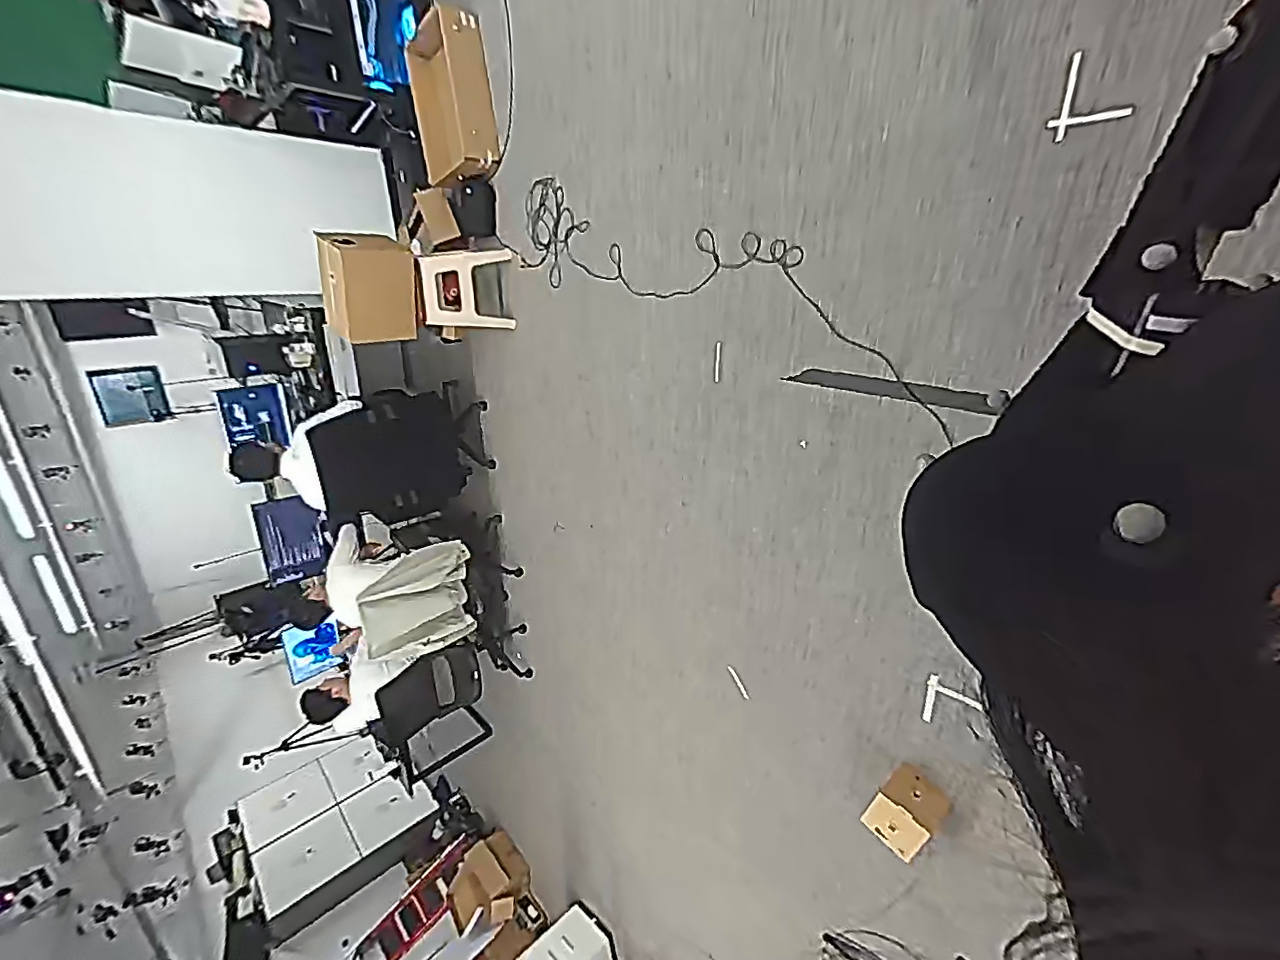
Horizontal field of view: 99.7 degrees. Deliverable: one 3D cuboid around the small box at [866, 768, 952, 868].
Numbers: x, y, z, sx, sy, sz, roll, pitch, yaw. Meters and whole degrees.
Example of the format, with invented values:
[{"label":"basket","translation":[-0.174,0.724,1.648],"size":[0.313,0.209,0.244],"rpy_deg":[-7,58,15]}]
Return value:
[{"label":"small box","translation":[0.855,1.060,1.709],"size":[0.168,0.176,0.179],"rpy_deg":[36,128,35]}]
